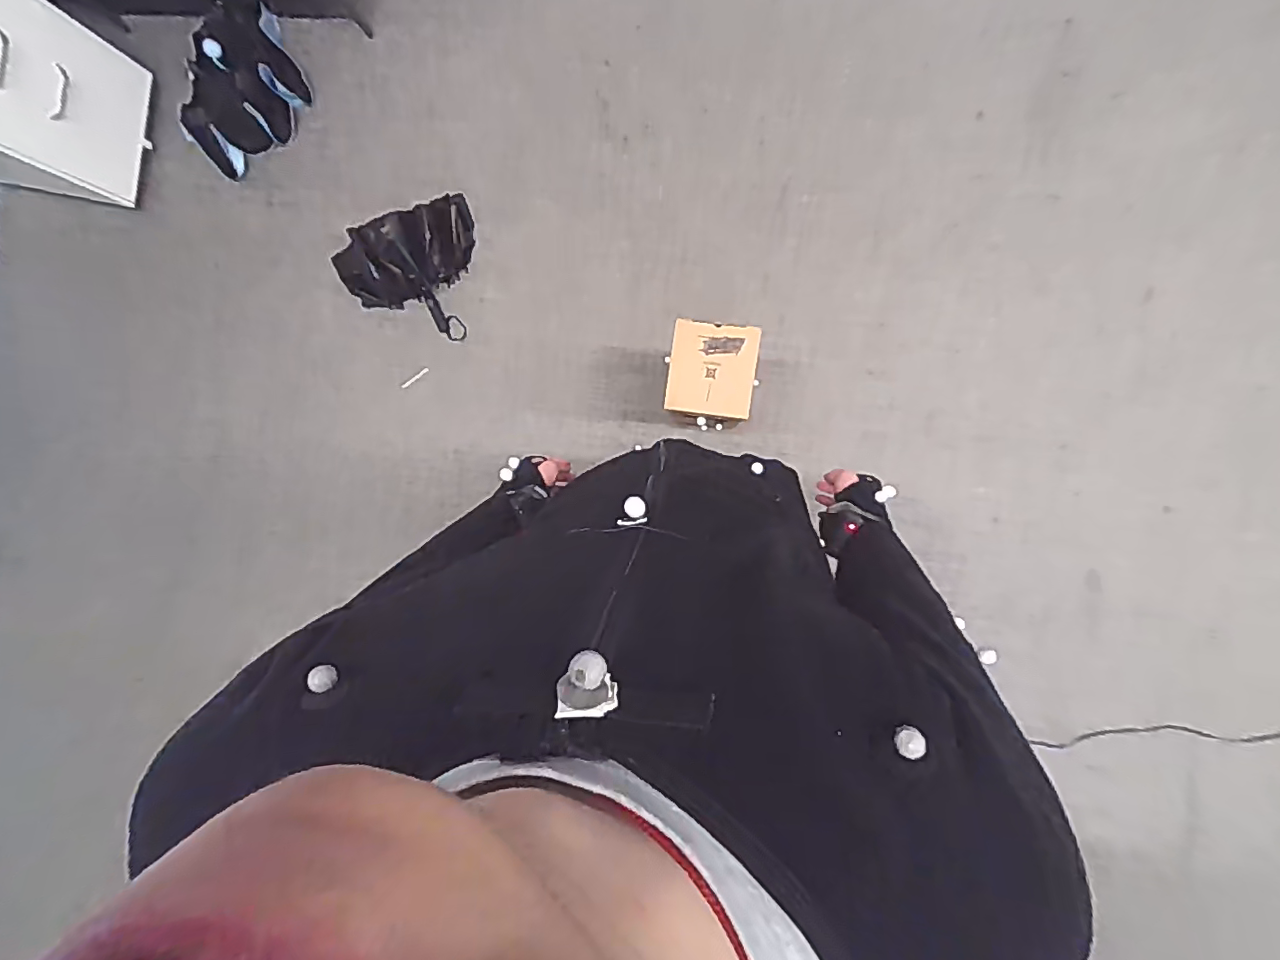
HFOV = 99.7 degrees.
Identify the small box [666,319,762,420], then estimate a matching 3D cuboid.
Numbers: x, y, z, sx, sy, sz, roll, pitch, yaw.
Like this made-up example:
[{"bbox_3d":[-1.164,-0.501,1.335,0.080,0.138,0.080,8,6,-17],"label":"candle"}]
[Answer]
[{"bbox_3d":[0.149,-0.223,1.126,0.168,0.176,0.179,8,96,6],"label":"small box"}]
